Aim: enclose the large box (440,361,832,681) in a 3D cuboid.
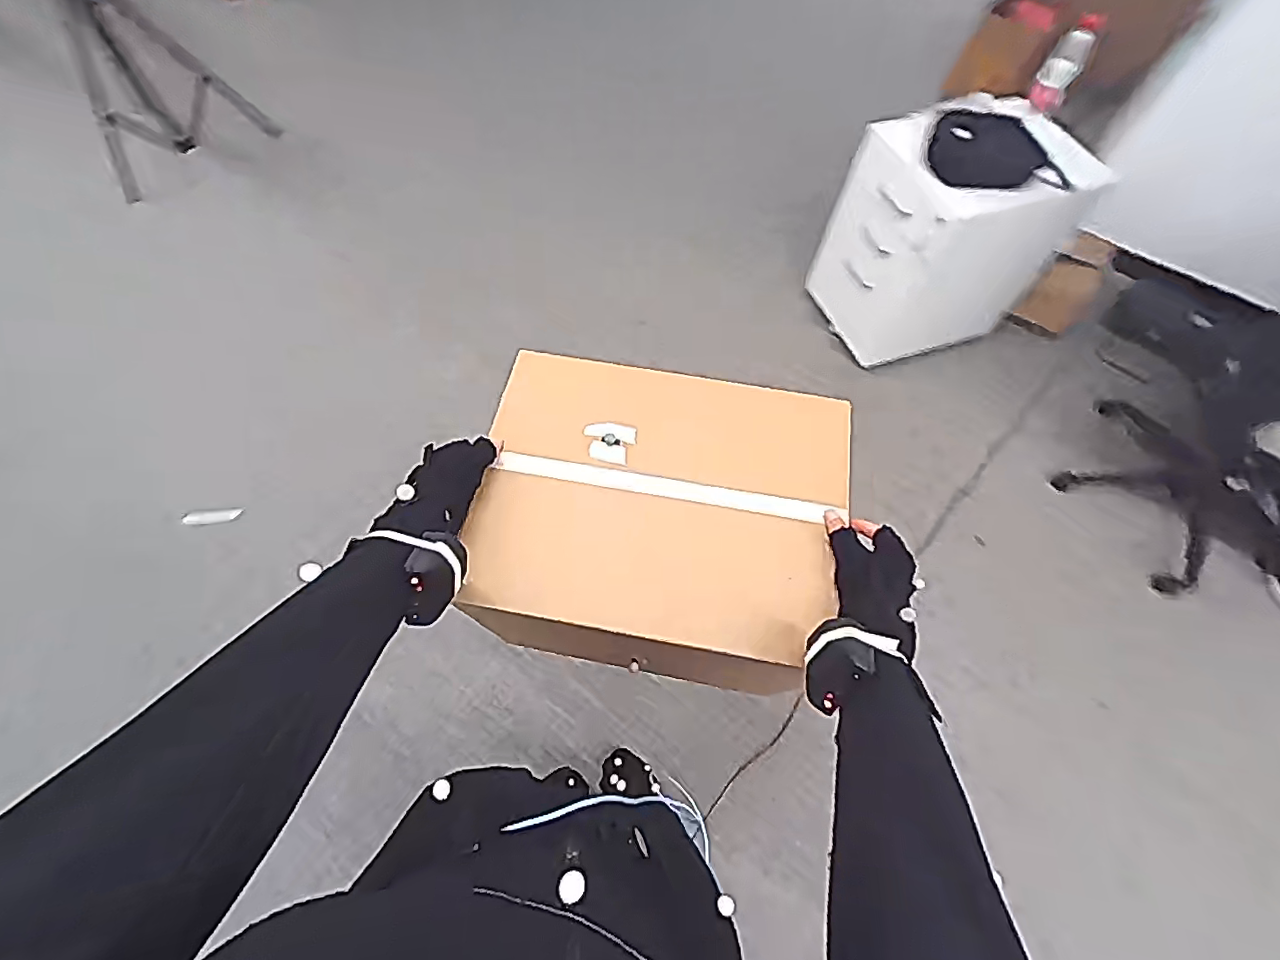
[{"bbox_3d":[0.016,0.074,0.736,0.408,0.320,0.320,9,64,5],"label":"large box"}]
